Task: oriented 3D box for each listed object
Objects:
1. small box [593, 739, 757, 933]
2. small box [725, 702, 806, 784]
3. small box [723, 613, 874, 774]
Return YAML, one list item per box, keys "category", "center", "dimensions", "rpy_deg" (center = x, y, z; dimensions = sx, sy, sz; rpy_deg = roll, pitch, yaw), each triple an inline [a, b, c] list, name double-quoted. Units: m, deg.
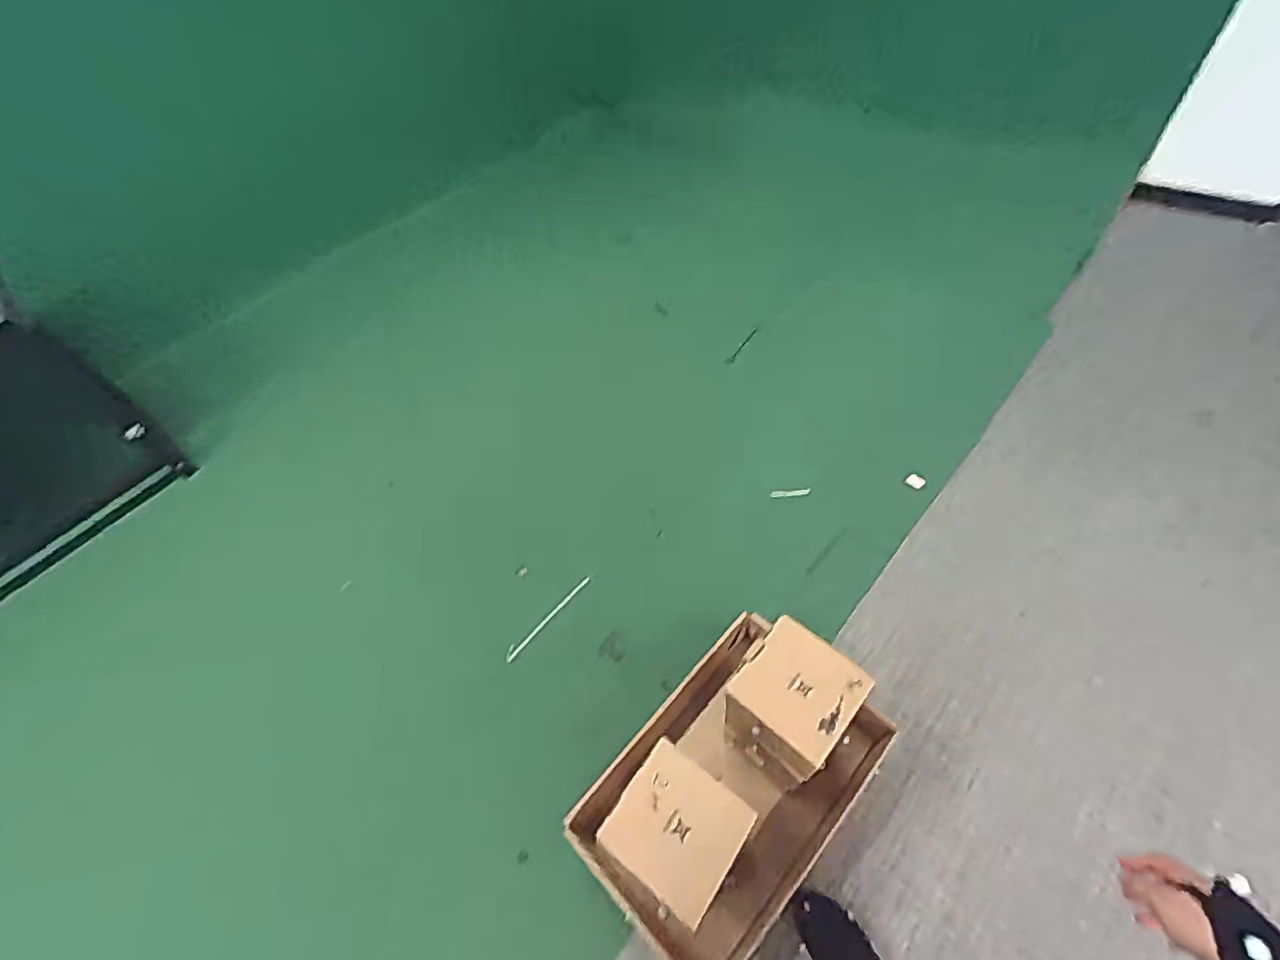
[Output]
- category: "small box"
  center: [0.057, 0.533, 0.823]
  dimensions: [0.179, 0.176, 0.168]
  rpy_deg: [29, 62, 25]
- category: "small box"
  center: [0.280, 0.459, 1.048]
  dimensions: [0.179, 0.176, 0.168]
  rpy_deg: [38, 69, 27]
- category: "small box"
  center: [0.258, 0.365, 0.914]
  dimensions: [0.179, 0.176, 0.168]
  rpy_deg: [34, 66, 29]
